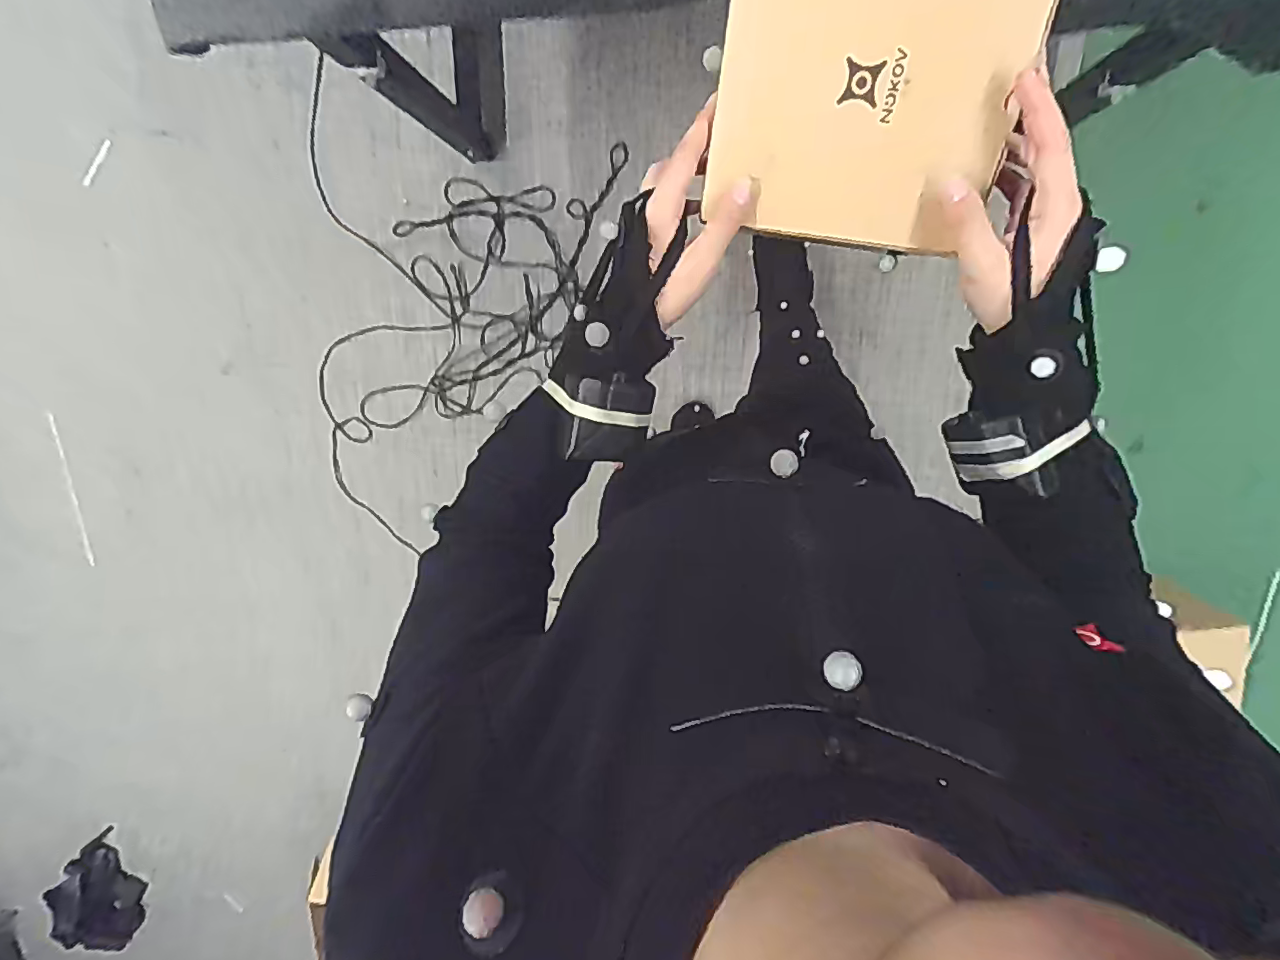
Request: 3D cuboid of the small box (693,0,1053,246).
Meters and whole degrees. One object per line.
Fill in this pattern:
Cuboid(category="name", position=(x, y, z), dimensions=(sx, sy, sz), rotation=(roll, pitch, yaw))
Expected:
Cuboid(category="small box", position=(0.138, -0.263, 0.379), dimensions=(0.179, 0.176, 0.168), rotation=(9, 114, 3))
